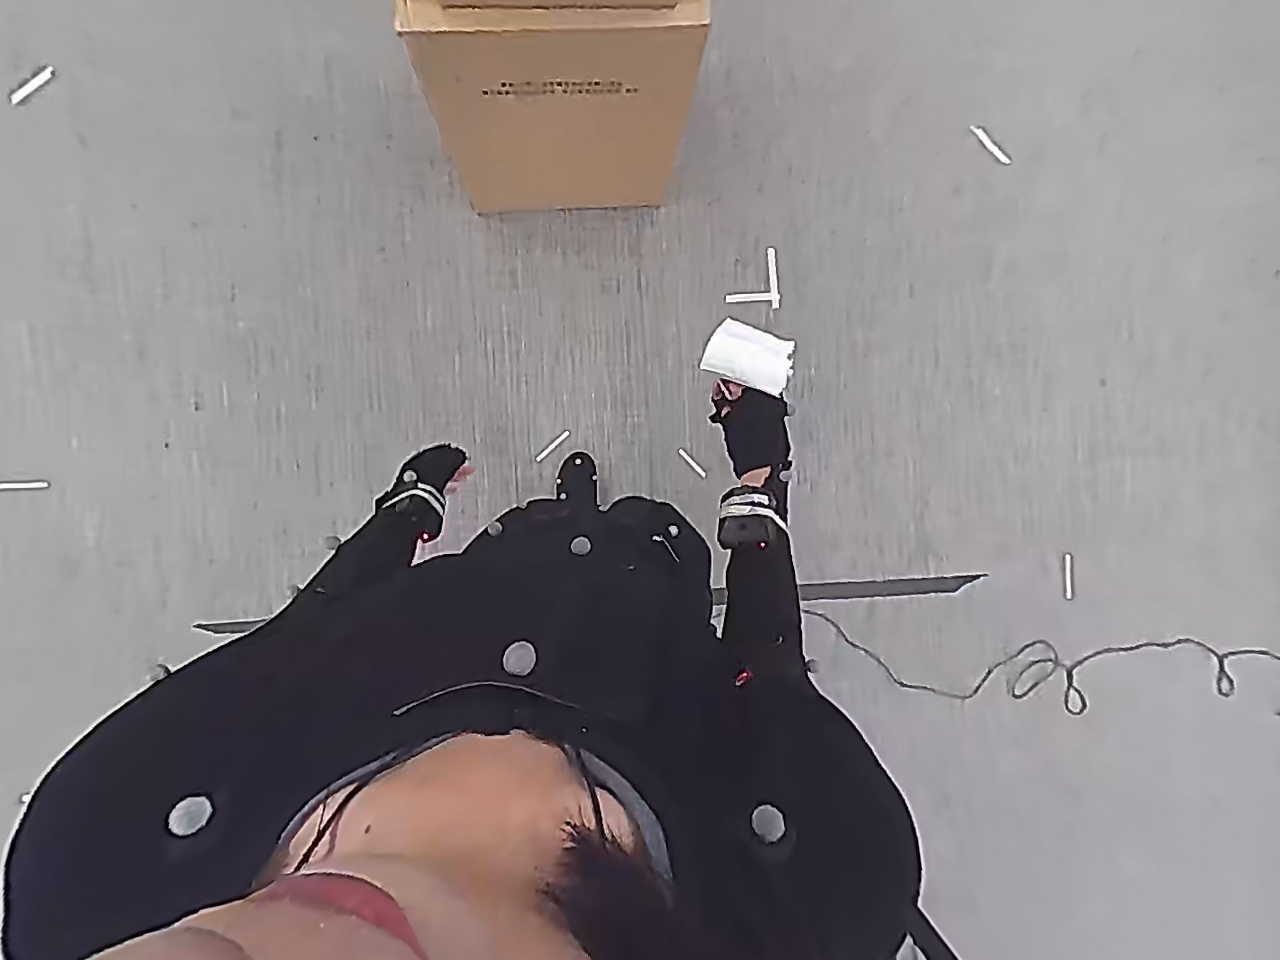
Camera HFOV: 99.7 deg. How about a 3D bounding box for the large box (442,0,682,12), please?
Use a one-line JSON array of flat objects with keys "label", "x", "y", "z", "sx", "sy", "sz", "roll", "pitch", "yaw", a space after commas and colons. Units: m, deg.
[{"label": "large box", "x": -0.124, "y": -0.934, "z": 0.755, "sx": 0.408, "sy": 0.320, "sz": 0.320, "roll": -5, "pitch": 92, "yaw": -6}]
